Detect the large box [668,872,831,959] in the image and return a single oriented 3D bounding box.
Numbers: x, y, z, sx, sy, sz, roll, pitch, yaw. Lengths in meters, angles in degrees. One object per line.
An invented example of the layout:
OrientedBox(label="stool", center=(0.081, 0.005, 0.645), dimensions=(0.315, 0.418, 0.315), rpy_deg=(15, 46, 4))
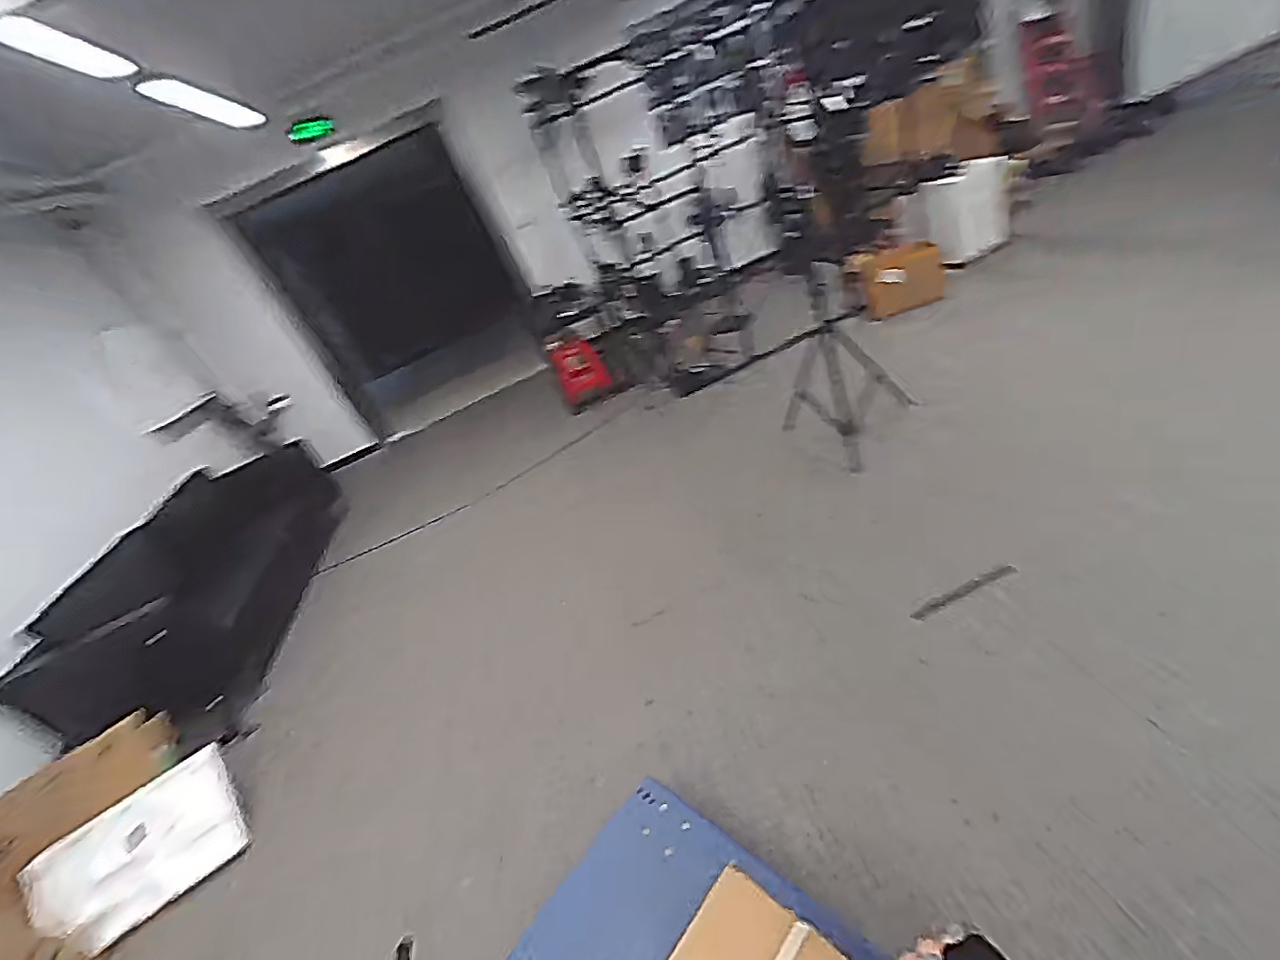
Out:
OrientedBox(label="large box", center=(0.178, 0.960, 0.838), dimensions=(0.320, 0.320, 0.408), rpy_deg=(12, 45, 46))
